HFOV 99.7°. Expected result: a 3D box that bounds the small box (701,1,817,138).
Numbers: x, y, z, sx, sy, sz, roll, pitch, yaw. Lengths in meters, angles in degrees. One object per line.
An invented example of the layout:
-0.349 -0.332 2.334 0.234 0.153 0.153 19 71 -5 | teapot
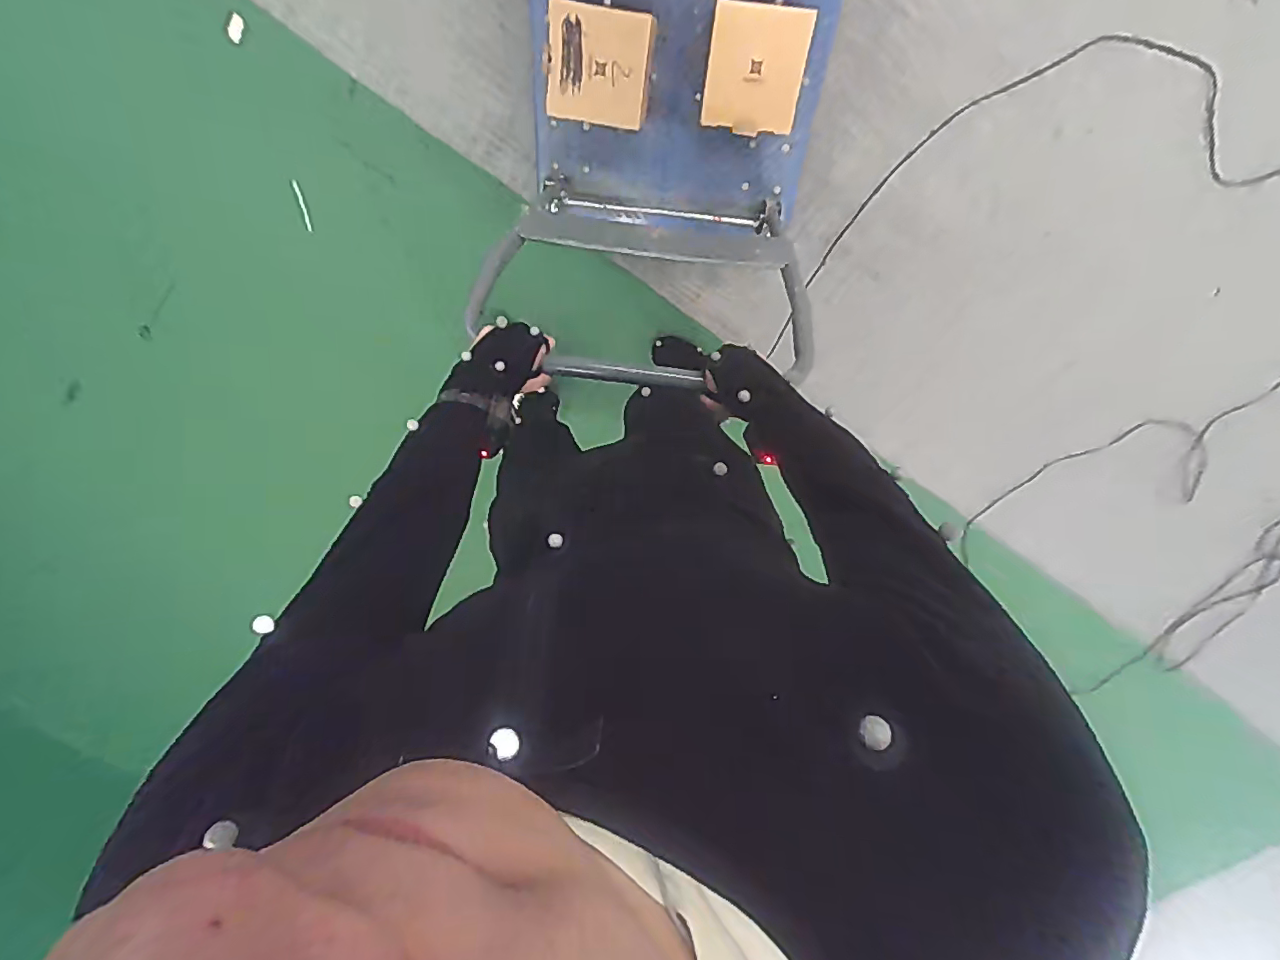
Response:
0.205 -0.749 0.991 0.168 0.176 0.179 7 129 1 | small box
